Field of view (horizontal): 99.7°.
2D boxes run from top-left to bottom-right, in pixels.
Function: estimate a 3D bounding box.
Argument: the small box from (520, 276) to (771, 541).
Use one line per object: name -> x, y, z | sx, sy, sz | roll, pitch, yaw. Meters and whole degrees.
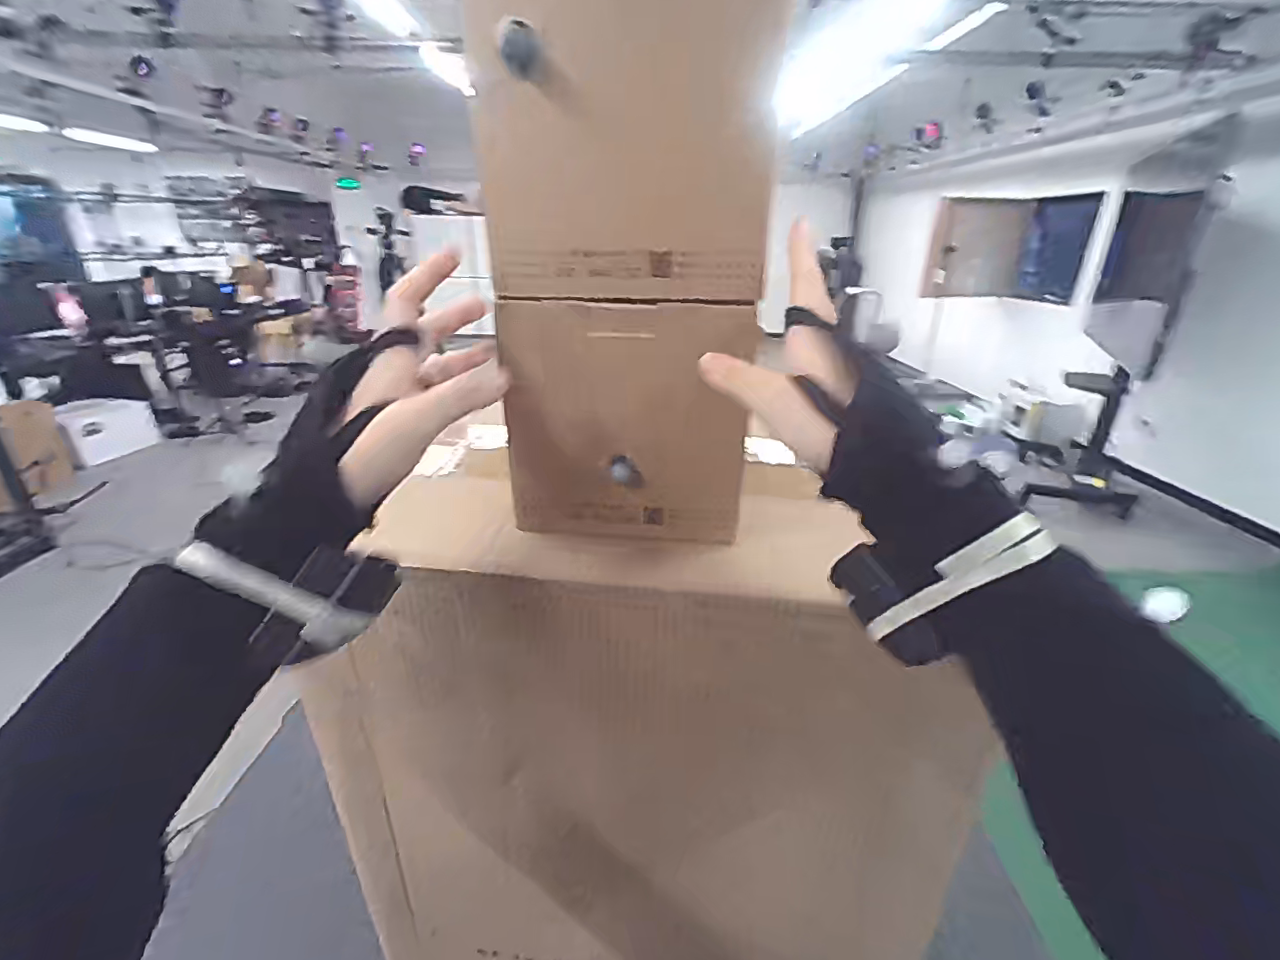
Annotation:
small box -> 0.009, -0.070, 0.450 | 0.168, 0.176, 0.179 | 4, 26, 5
